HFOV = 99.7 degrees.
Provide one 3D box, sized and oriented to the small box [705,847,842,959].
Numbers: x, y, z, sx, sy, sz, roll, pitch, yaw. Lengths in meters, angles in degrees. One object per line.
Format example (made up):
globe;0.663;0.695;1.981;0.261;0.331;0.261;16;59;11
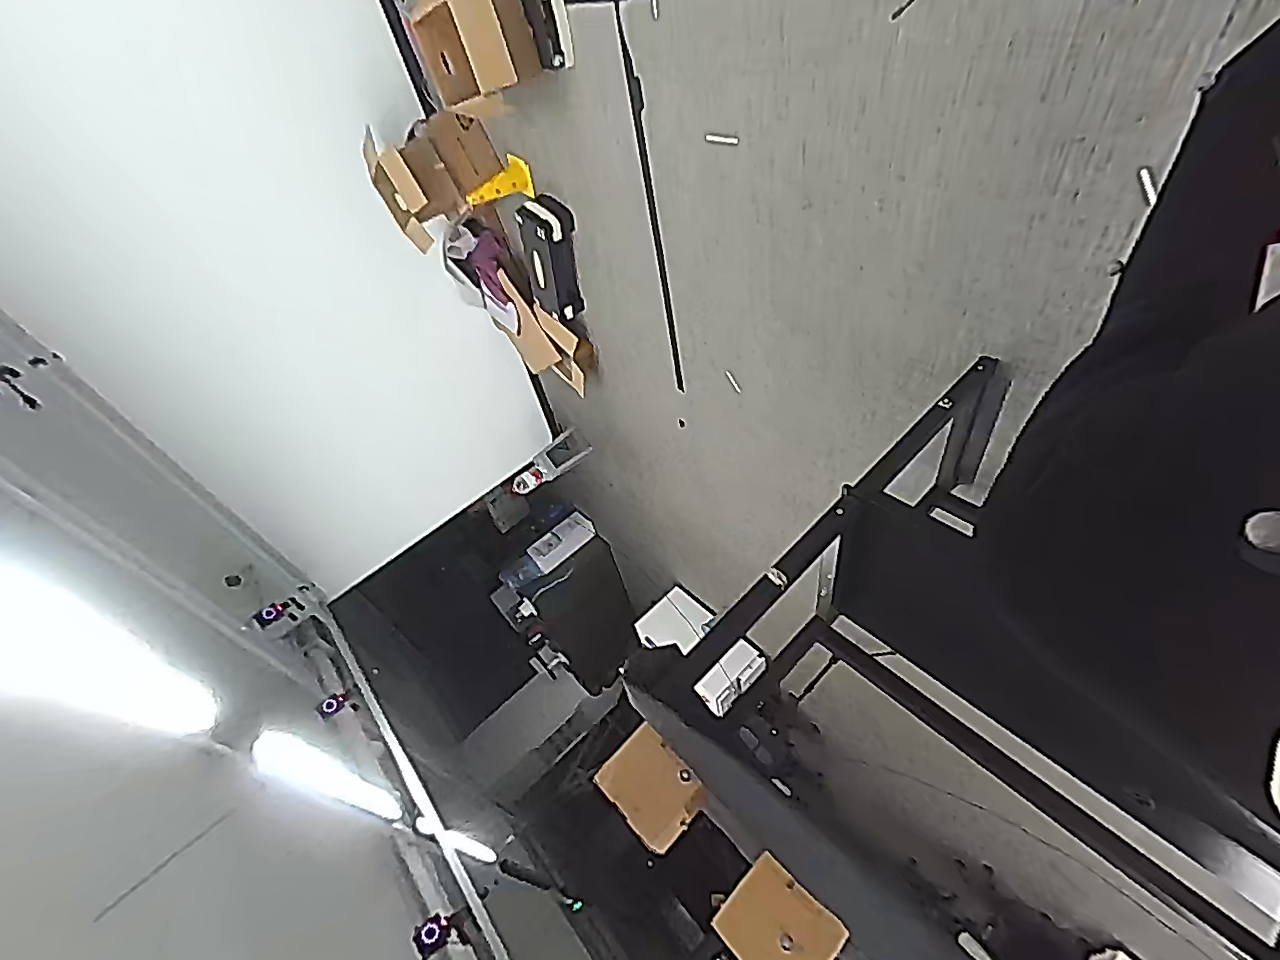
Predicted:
small box;0.238;0.793;0.963;0.168;0.176;0.179;35;155;36

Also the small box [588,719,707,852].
small box;0.022;0.632;1.128;0.168;0.176;0.179;36;157;34
